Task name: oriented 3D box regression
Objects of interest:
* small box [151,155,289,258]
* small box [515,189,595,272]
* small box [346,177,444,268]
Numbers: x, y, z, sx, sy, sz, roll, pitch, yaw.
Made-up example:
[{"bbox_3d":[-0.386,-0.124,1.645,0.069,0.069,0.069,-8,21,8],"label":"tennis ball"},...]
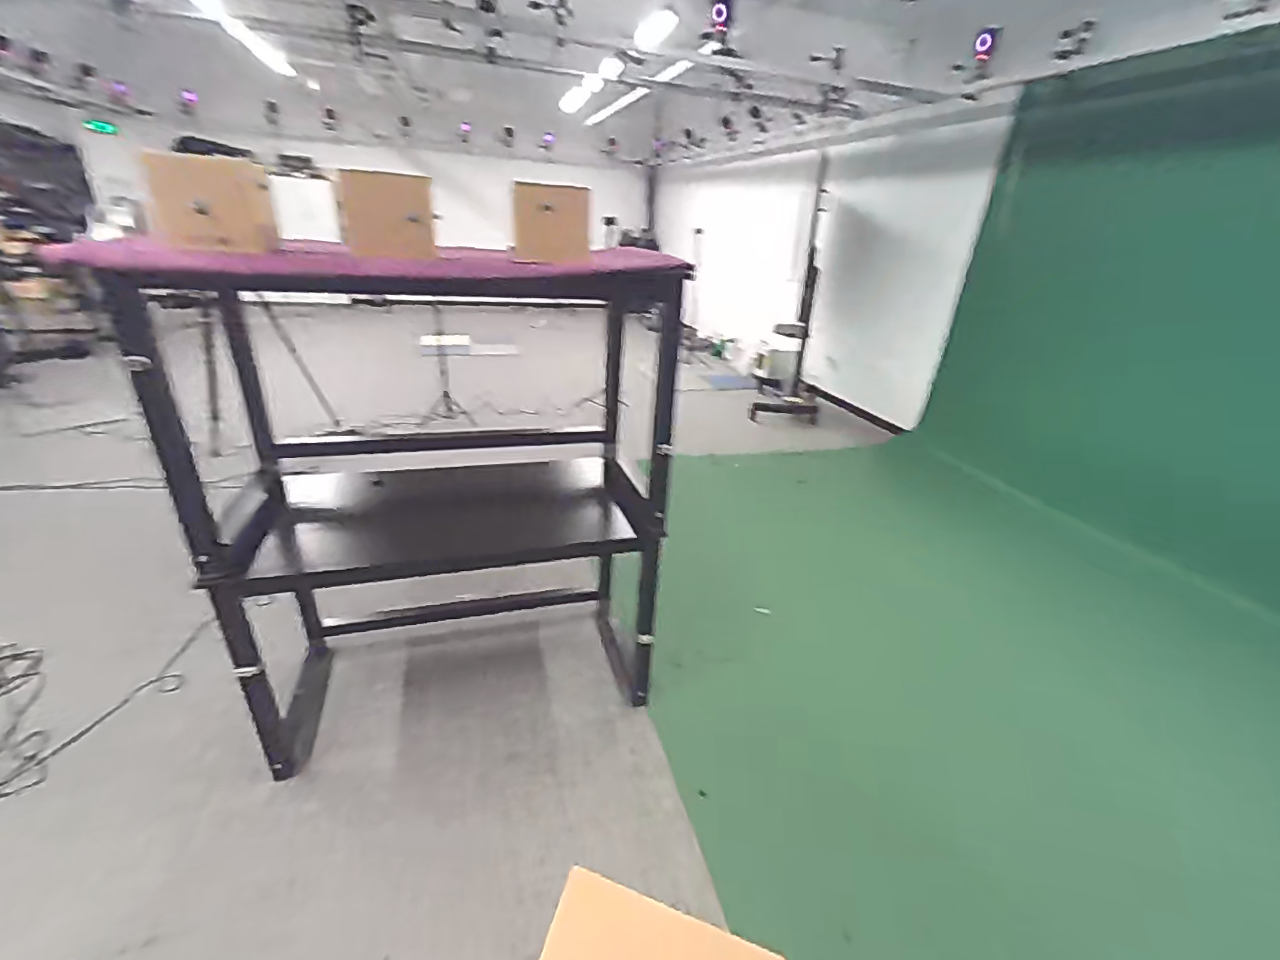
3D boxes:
[{"bbox_3d":[-0.840,-0.551,1.104,0.168,0.176,0.179,-3,26,-19],"label":"small box"},{"bbox_3d":[-0.211,-0.606,1.331,0.179,0.176,0.168,-3,23,-16],"label":"small box"},{"bbox_3d":[-0.536,-0.572,1.209,0.179,0.176,0.168,-5,26,-18],"label":"small box"}]
